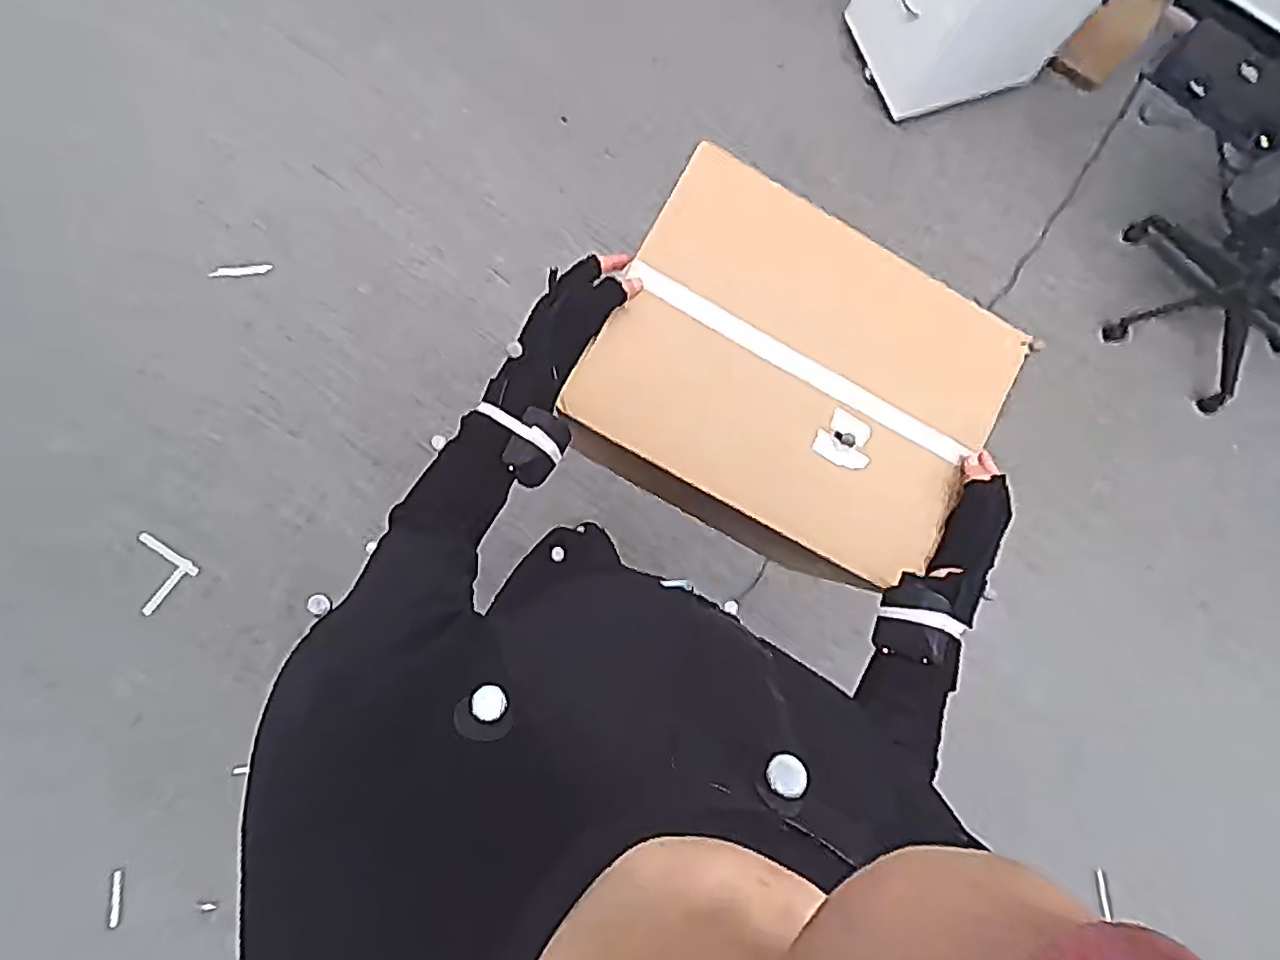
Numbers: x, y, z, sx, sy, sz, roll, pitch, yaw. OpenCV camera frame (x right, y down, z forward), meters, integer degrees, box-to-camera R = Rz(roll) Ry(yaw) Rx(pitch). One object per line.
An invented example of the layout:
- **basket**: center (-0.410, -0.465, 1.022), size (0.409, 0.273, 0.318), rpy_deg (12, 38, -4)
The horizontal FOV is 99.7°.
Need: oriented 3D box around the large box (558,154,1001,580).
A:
- **large box**: center (0.137, -0.109, 0.708), size (0.408, 0.320, 0.320), rpy_deg (28, 85, -6)
